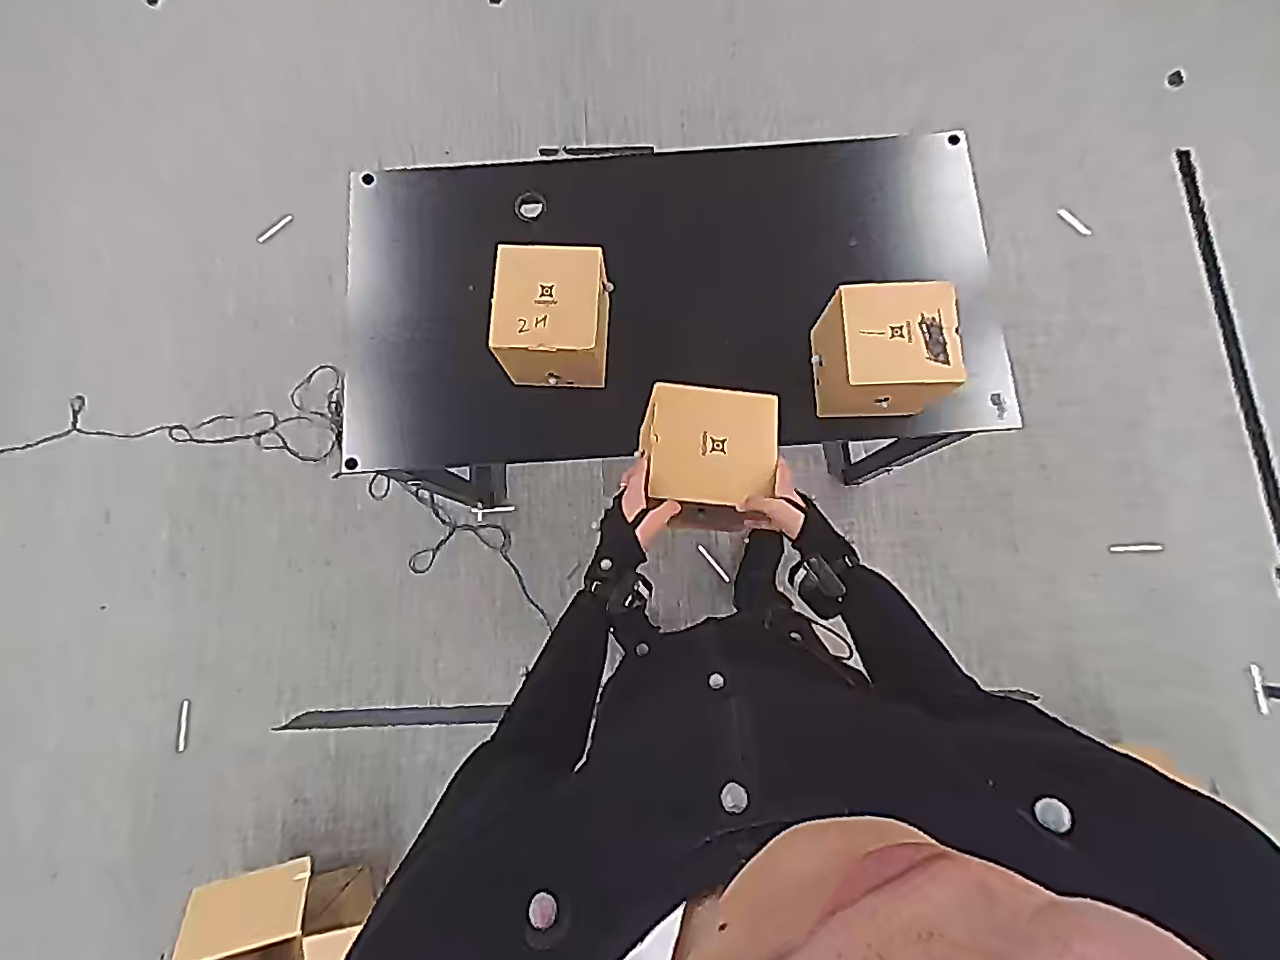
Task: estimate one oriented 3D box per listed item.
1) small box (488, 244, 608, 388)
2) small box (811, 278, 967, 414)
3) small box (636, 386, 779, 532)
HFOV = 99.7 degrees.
[{"bbox_3d":[-0.144,-0.269,0.910,0.168,0.176,0.179,2,81,2],"label":"small box"},{"bbox_3d":[0.396,-0.212,0.887,0.179,0.176,0.168,-2,80,2],"label":"small box"},{"bbox_3d":[0.092,-0.021,0.795,0.179,0.176,0.168,5,74,-3],"label":"small box"}]
